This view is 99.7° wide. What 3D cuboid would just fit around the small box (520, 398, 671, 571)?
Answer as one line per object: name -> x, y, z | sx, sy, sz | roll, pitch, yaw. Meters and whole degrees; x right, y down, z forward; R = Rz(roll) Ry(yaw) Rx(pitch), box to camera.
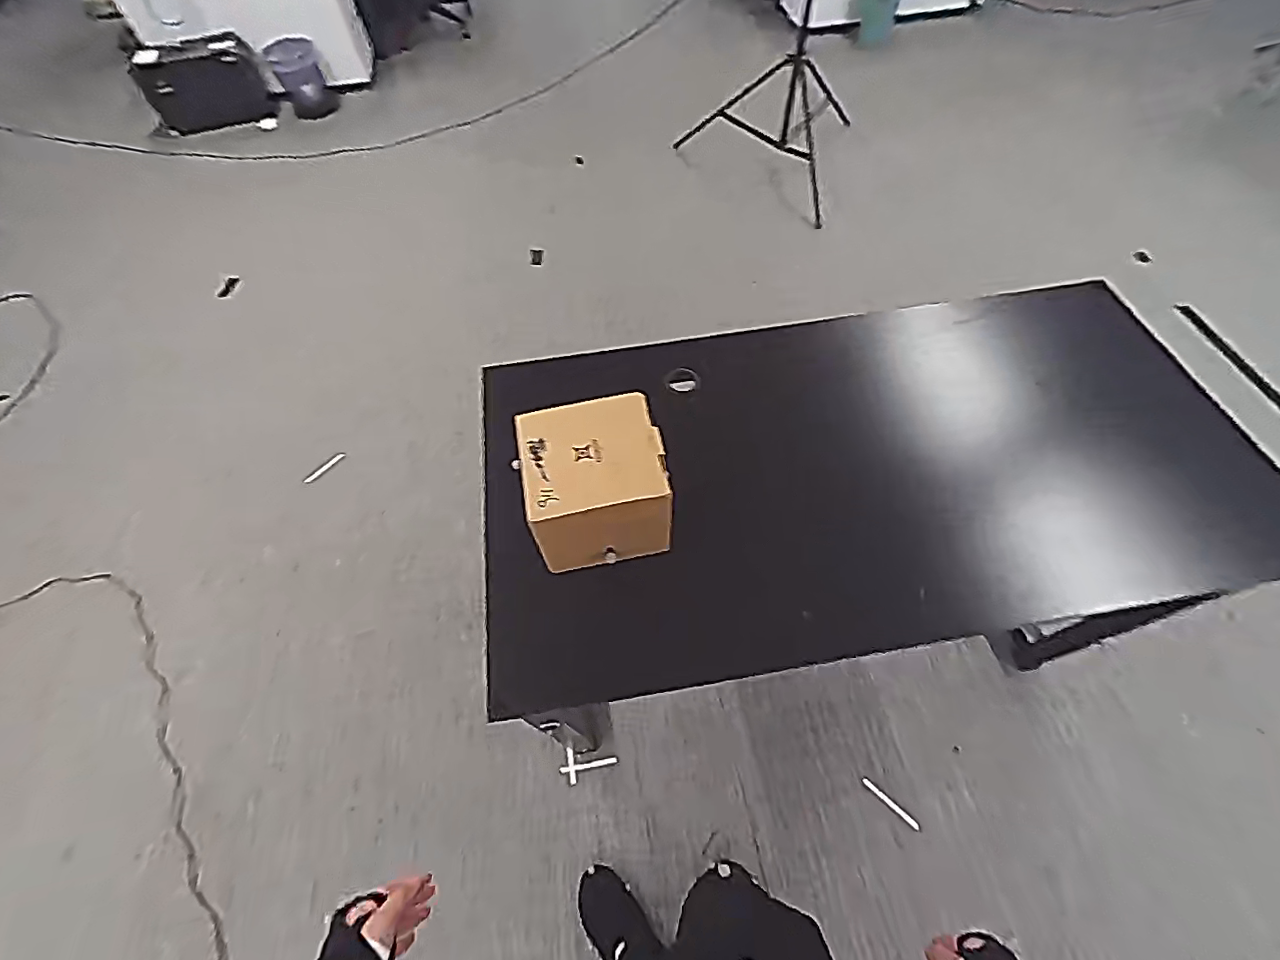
small box -> -0.062, 0.011, 0.758 | 0.179, 0.176, 0.168 | -10, 58, -6
